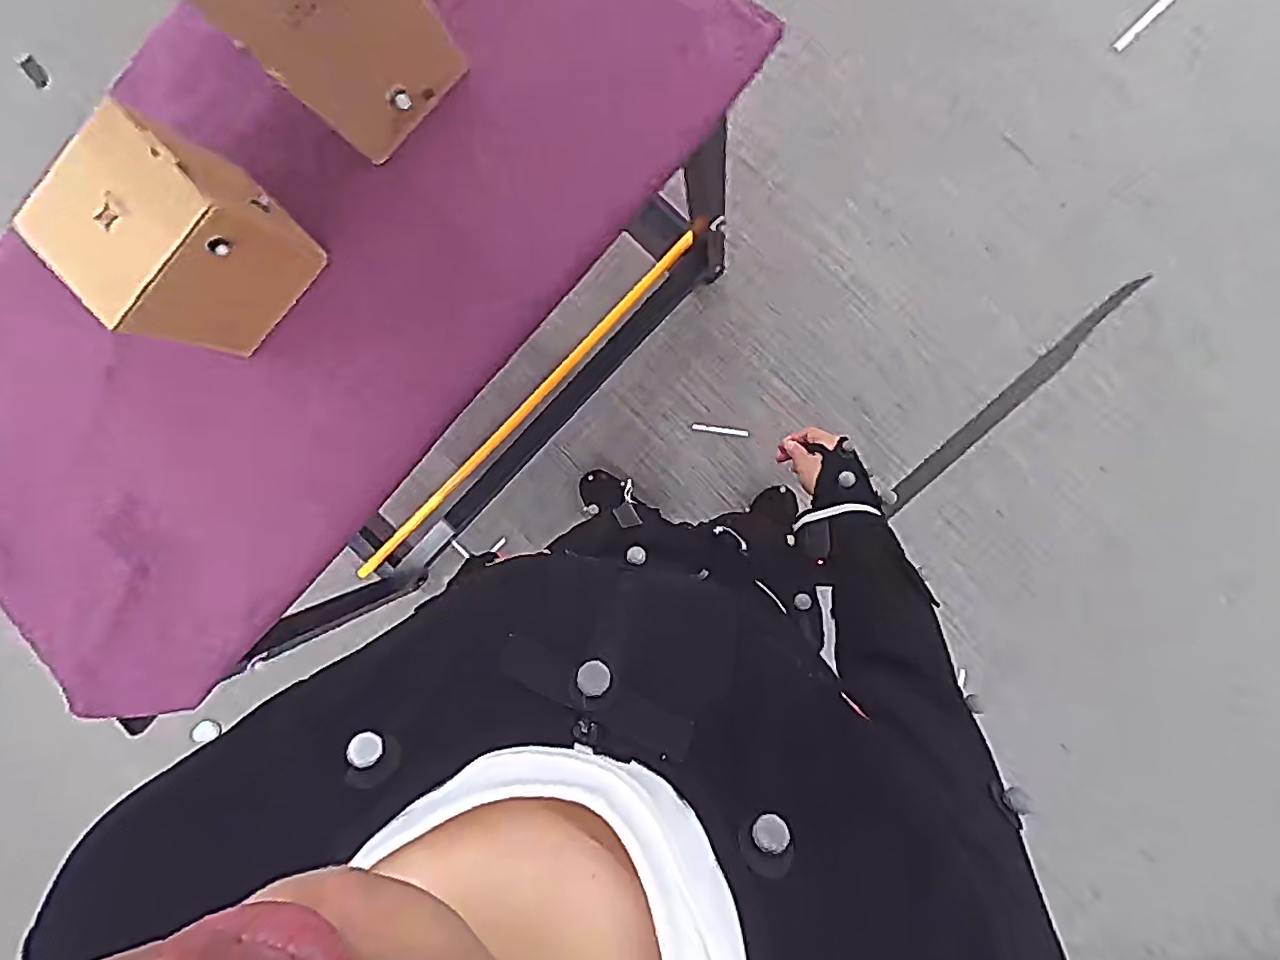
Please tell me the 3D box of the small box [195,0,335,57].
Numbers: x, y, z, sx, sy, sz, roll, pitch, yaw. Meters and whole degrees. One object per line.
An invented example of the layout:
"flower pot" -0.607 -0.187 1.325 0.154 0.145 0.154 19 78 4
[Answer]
"small box" -0.350 -0.497 0.420 0.168 0.176 0.179 -42 88 8

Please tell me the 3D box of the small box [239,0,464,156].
"small box" -0.331 -0.503 0.584 0.168 0.176 0.179 -41 88 8

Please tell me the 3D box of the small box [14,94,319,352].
"small box" -0.524 -0.273 0.623 0.168 0.176 0.179 45 97 4
